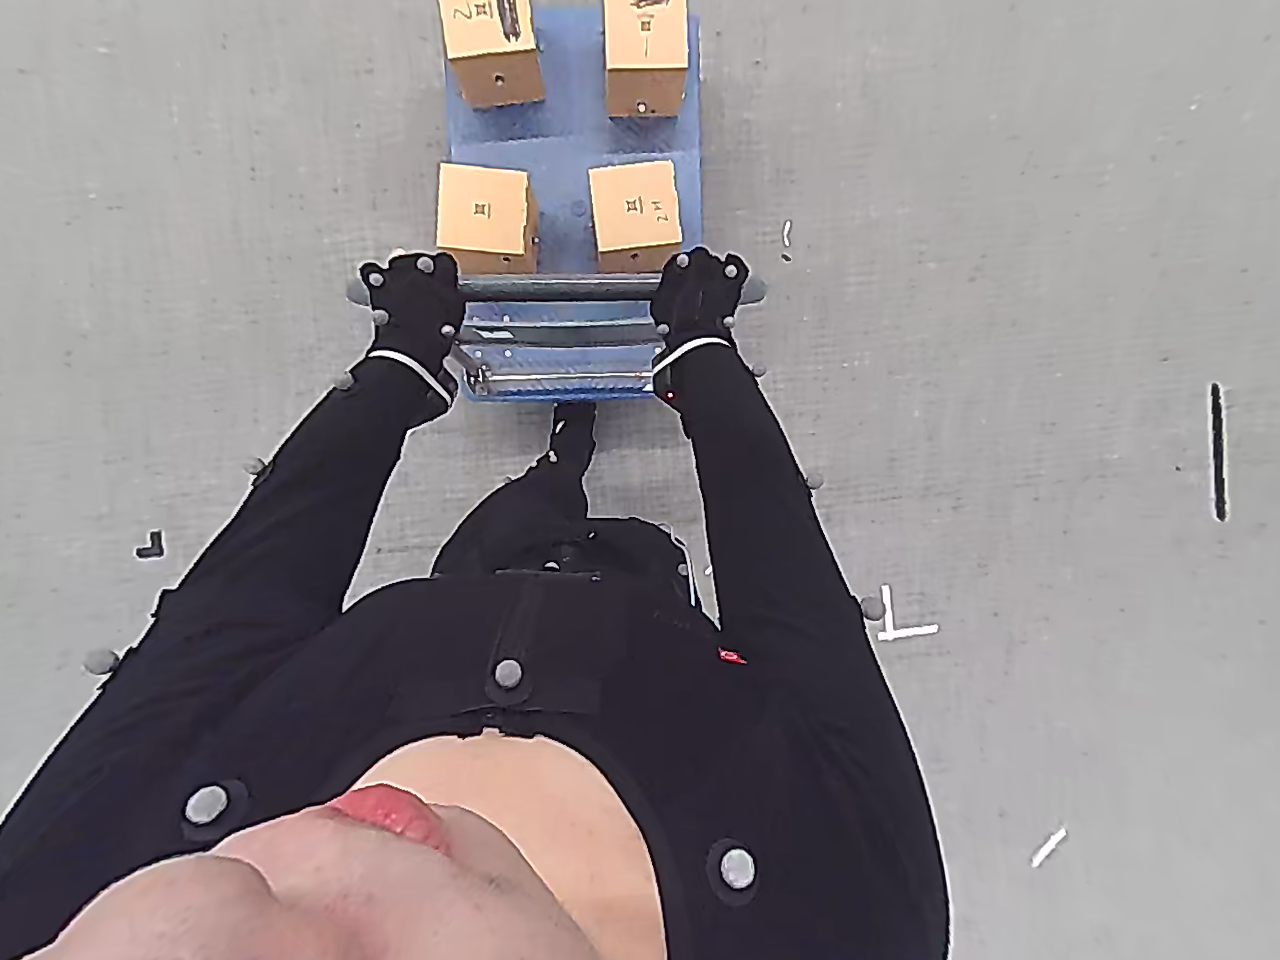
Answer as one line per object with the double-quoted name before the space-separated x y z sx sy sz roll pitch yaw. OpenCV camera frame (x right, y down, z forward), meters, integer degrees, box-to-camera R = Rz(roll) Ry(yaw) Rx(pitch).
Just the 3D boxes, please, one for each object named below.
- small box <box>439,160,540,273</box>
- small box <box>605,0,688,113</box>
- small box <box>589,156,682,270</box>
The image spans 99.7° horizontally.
"small box" -0.317 -0.557 1.165 0.179 0.176 0.168 3 94 -4
"small box" 0.009 -0.923 1.151 0.168 0.176 0.179 -2 96 -2
"small box" -0.011 -0.571 1.177 0.179 0.176 0.168 -7 95 -2
